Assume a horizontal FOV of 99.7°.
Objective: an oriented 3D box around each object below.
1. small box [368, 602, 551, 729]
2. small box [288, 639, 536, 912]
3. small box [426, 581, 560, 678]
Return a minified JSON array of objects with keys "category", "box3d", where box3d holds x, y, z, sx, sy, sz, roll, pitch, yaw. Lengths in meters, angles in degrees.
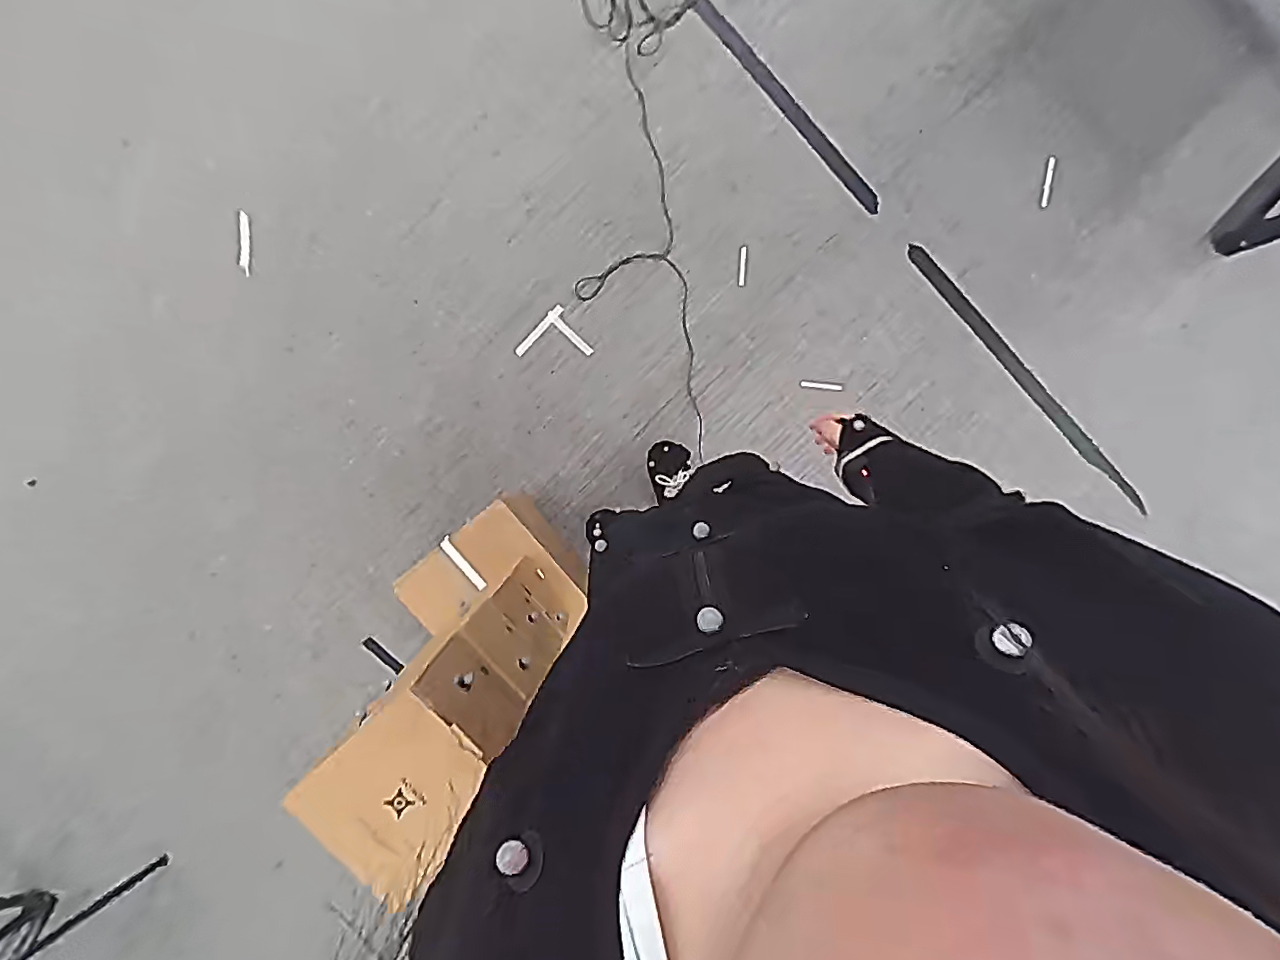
[{"category":"small box","box3d":[-0.244,0.304,0.780,0.179,0.176,0.168,-42,95,0]},{"category":"small box","box3d":[-0.237,0.315,0.618,0.179,0.176,0.168,-43,93,1]},{"category":"small box","box3d":[-0.256,0.301,0.943,0.179,0.176,0.168,-40,94,-2]}]
